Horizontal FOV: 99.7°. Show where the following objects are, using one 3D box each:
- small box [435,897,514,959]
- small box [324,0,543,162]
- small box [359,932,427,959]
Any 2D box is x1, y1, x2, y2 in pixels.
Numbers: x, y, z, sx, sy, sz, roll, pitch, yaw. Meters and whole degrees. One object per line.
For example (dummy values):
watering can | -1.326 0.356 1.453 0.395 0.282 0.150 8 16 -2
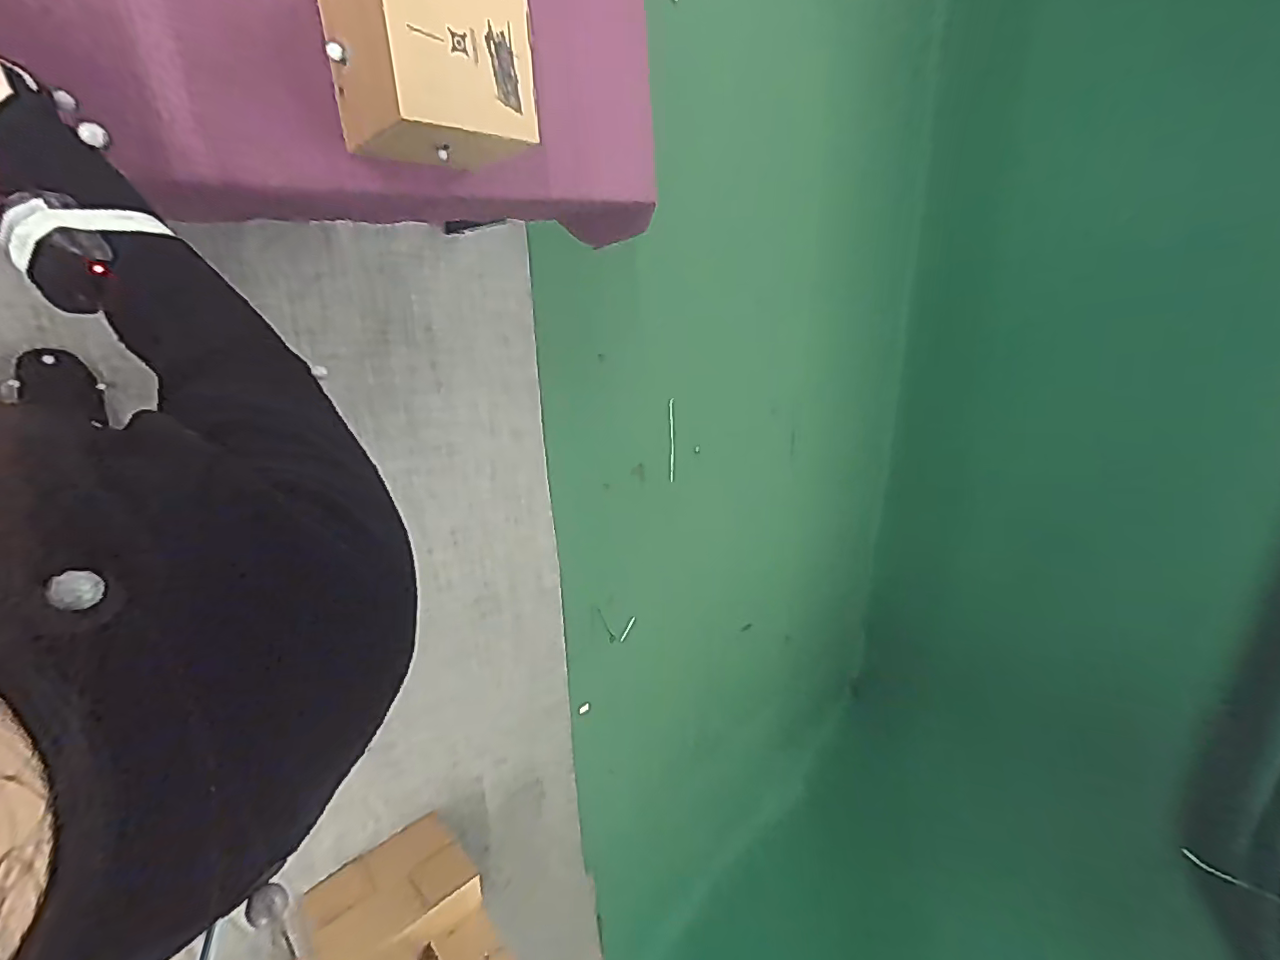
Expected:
small box | -0.489 1.393 1.589 0.168 0.176 0.179 -12 113 -45
small box | -0.239 -0.488 0.637 0.179 0.176 0.168 -20 115 -40
small box | -0.645 1.336 1.404 0.168 0.176 0.179 -10 112 -42
